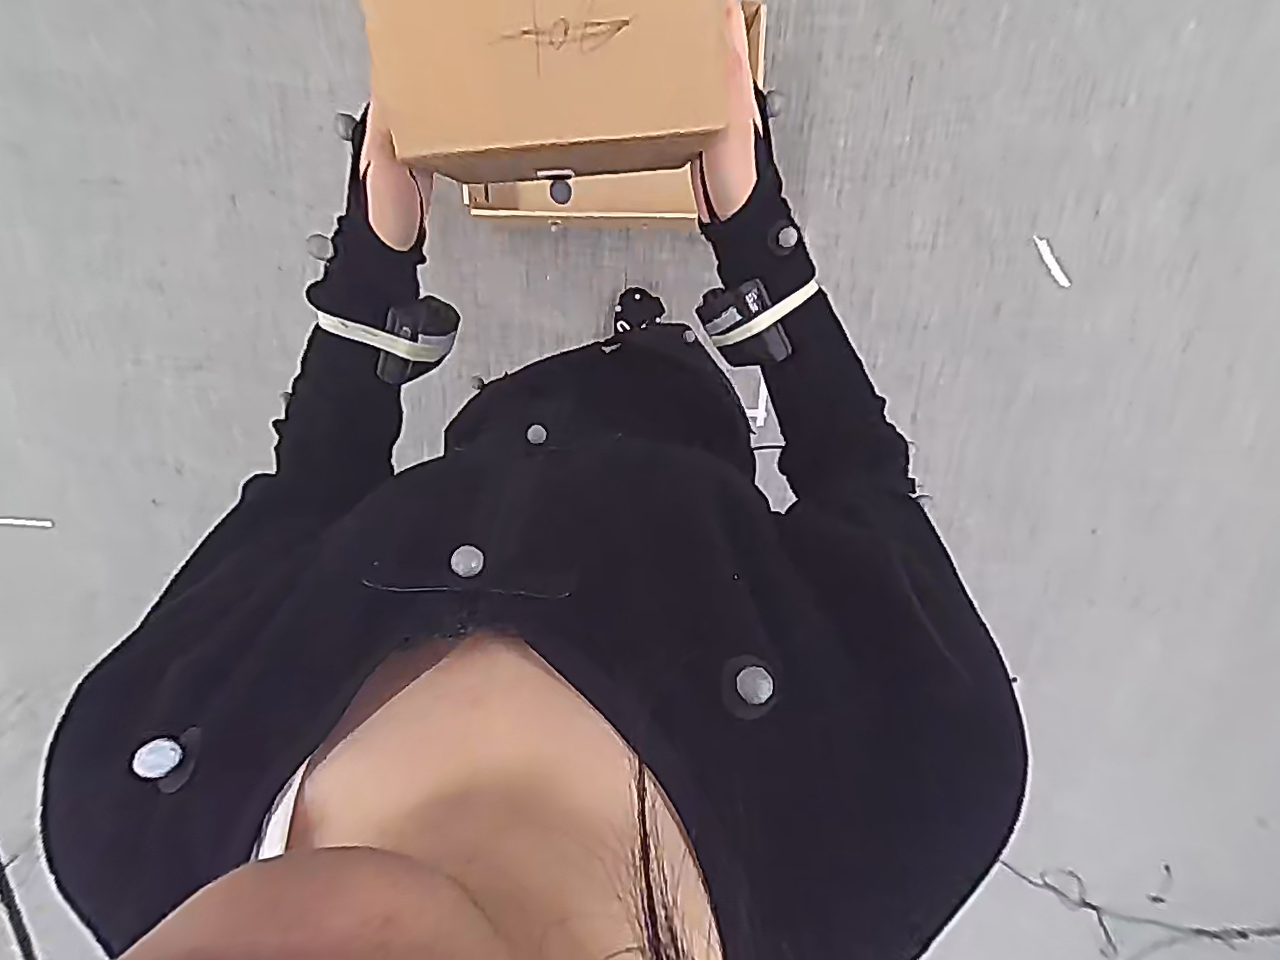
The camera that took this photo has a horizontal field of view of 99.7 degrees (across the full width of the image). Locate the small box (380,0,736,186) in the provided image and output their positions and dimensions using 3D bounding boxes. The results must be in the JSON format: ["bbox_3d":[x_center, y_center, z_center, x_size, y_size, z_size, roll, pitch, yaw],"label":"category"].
[{"bbox_3d":[-0.045,-0.280,0.309,0.168,0.176,0.179,-6,115,-1],"label":"small box"}]
